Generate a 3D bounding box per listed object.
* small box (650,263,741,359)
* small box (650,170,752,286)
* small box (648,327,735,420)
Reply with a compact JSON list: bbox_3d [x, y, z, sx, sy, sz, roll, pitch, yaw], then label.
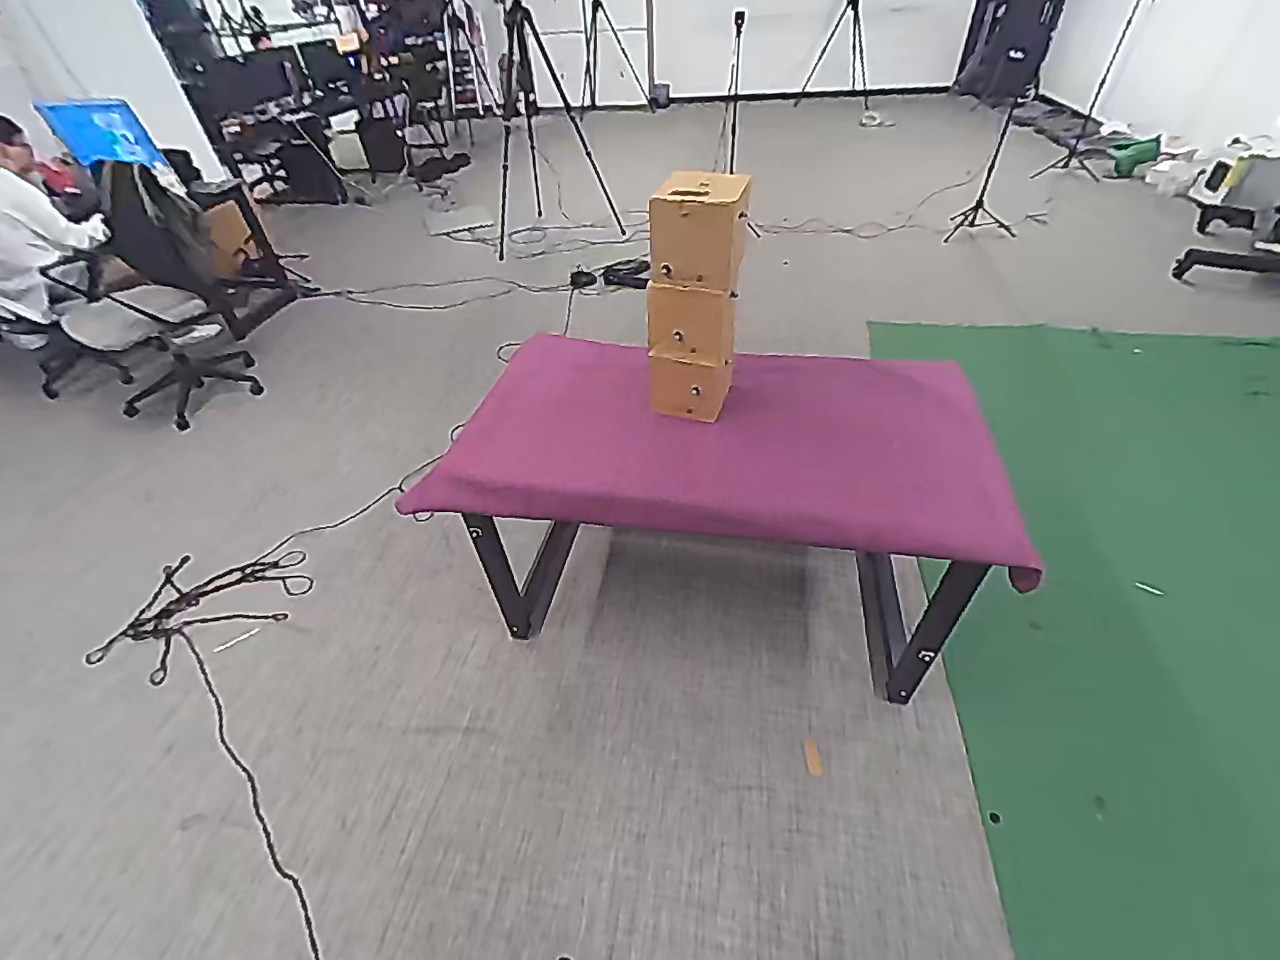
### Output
[{"bbox_3d":[0.123,-0.393,1.216,0.168,0.176,0.179,11,46,14],"label":"small box"},{"bbox_3d":[0.126,-0.515,1.106,0.168,0.176,0.179,12,46,14],"label":"small box"},{"bbox_3d":[0.128,-0.268,1.320,0.168,0.176,0.179,13,46,17],"label":"small box"}]
